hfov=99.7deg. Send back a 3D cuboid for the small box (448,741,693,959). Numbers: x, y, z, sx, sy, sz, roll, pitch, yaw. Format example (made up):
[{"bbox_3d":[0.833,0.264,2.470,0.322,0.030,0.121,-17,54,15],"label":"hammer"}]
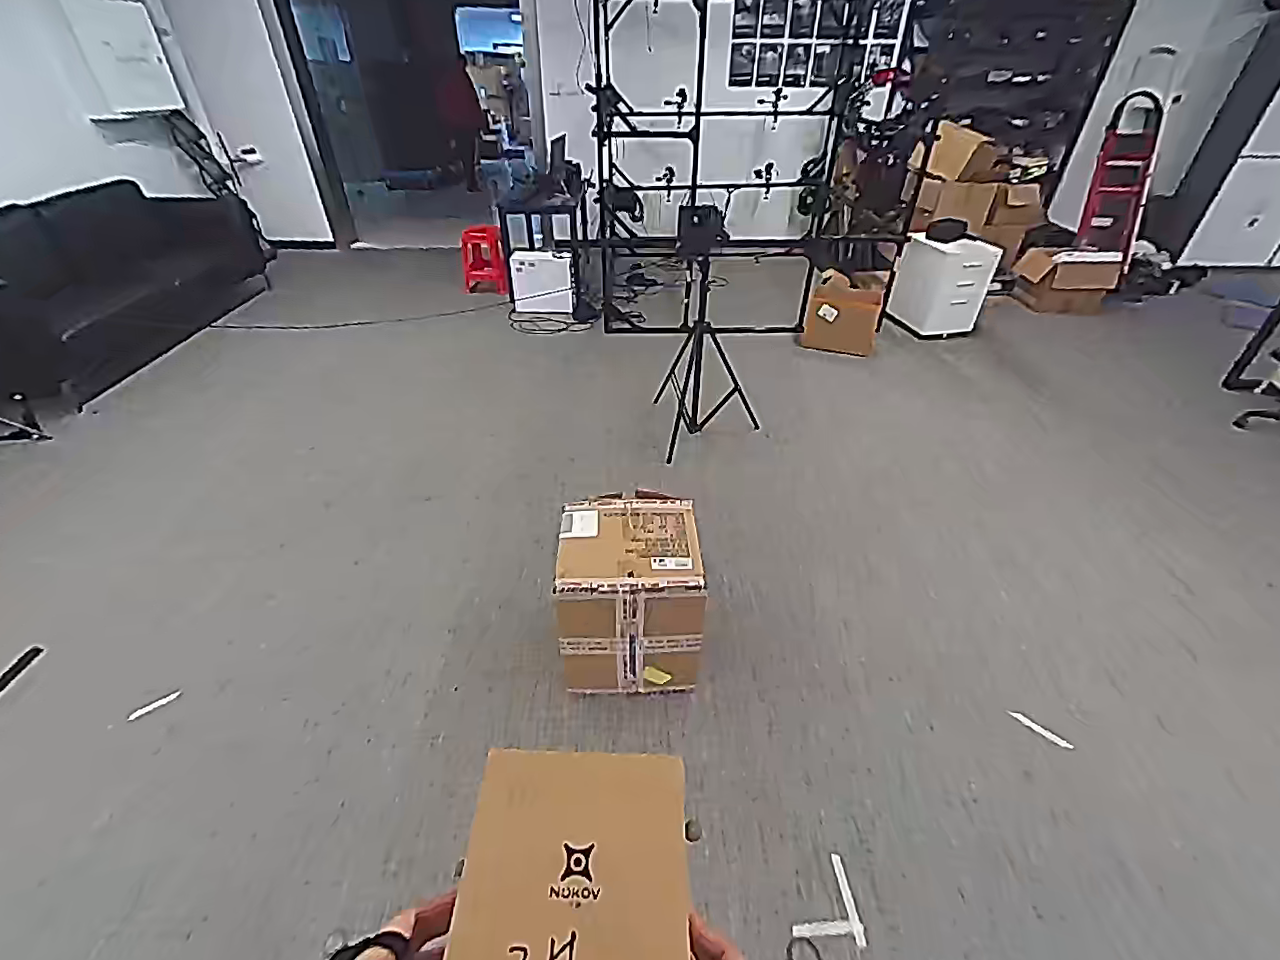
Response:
[{"bbox_3d":[-0.048,0.345,0.451,0.168,0.176,0.179,2,41,0],"label":"small box"}]
